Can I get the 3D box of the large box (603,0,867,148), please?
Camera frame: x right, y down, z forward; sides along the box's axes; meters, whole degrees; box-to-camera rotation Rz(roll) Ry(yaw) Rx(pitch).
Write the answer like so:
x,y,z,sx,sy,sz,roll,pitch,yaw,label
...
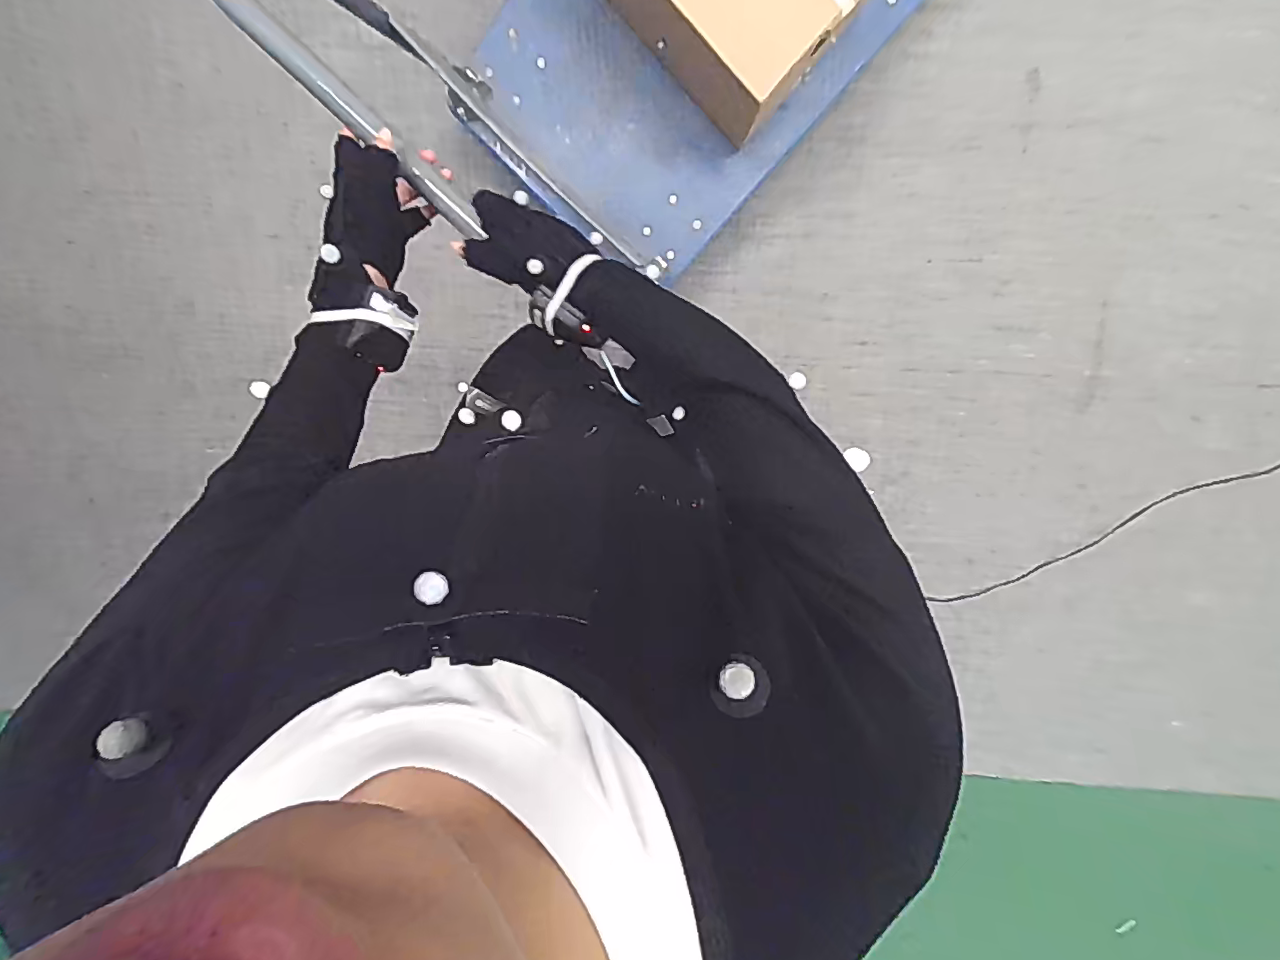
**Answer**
x,y,z,sx,sy,sz,roll,pitch,yaw,label
0.145,-0.834,0.859,0.408,0.320,0.320,43,107,-10,large box
